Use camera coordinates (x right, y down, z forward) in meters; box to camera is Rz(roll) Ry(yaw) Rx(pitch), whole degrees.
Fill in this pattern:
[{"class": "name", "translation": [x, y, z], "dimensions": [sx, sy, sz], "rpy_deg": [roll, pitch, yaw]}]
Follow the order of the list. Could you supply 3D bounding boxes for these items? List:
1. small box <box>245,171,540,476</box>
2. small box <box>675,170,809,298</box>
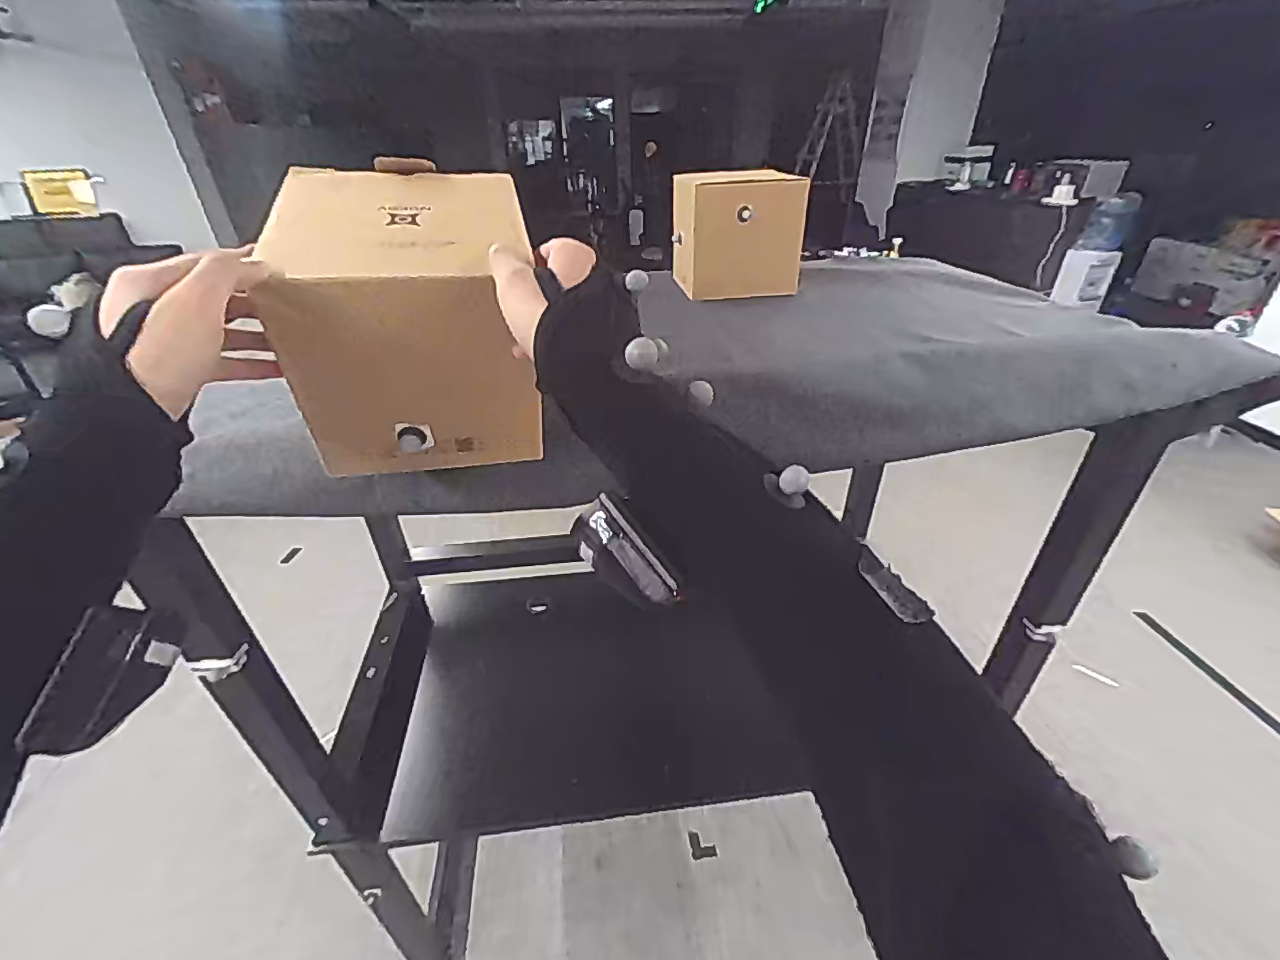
[{"class": "small box", "translation": [-0.173, -0.126, 0.435], "dimensions": [0.168, 0.176, 0.179], "rpy_deg": [-7, 48, -14]}, {"class": "small box", "translation": [0.156, -0.404, 0.886], "dimensions": [0.179, 0.176, 0.168], "rpy_deg": [-5, 34, -5]}]
